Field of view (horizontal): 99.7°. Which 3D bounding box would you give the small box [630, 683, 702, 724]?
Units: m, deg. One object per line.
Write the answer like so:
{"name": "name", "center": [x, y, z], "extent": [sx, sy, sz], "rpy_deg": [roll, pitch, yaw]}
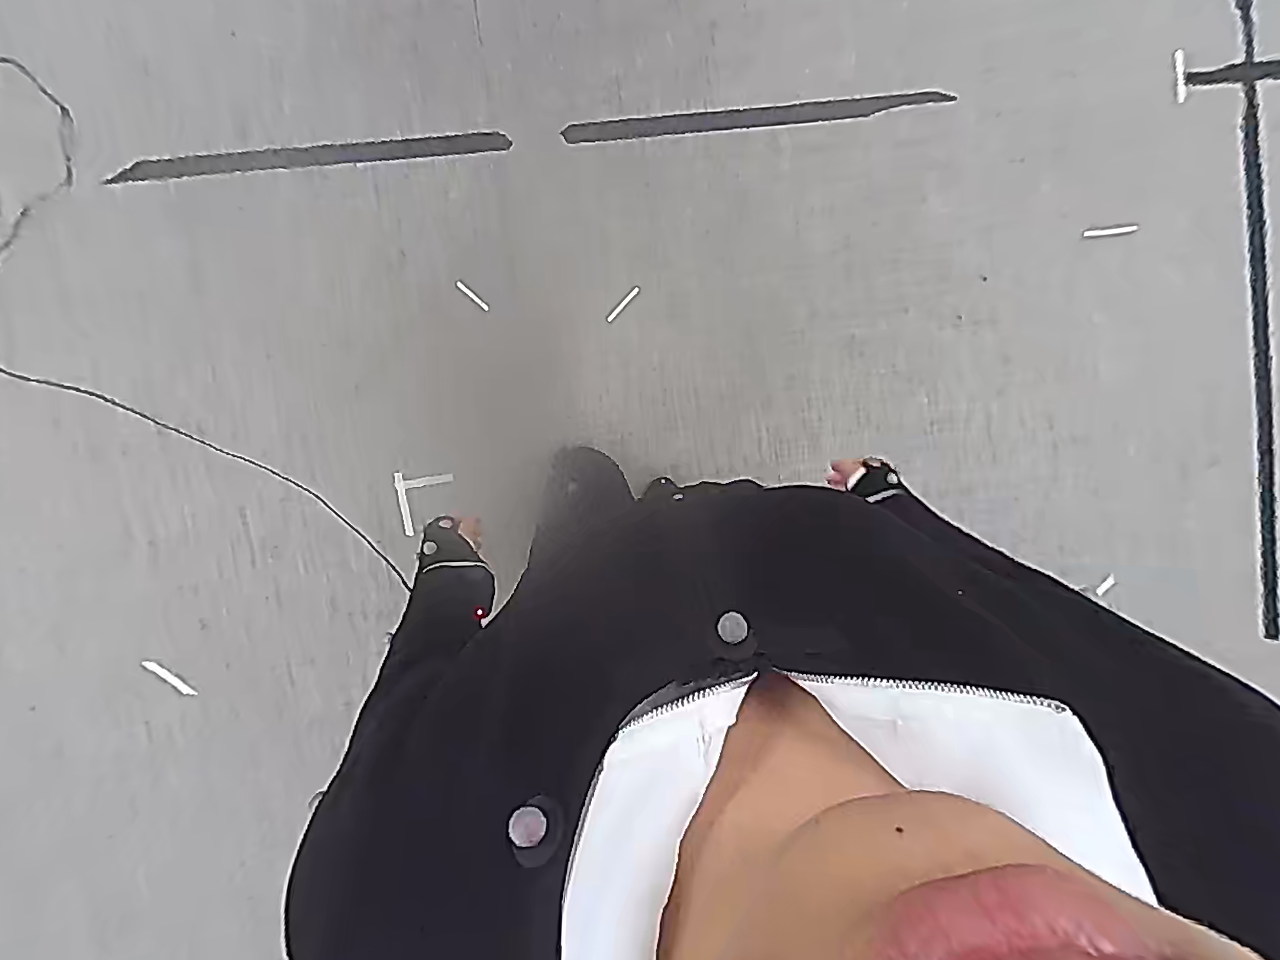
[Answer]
{"name": "small box", "center": [0.065, 0.623, 1.345], "extent": [0.168, 0.176, 0.179], "rpy_deg": [-6, 94, -2]}

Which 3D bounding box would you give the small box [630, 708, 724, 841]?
{"name": "small box", "center": [0.076, 0.634, 1.182], "extent": [0.168, 0.176, 0.179], "rpy_deg": [-13, 94, -2]}
